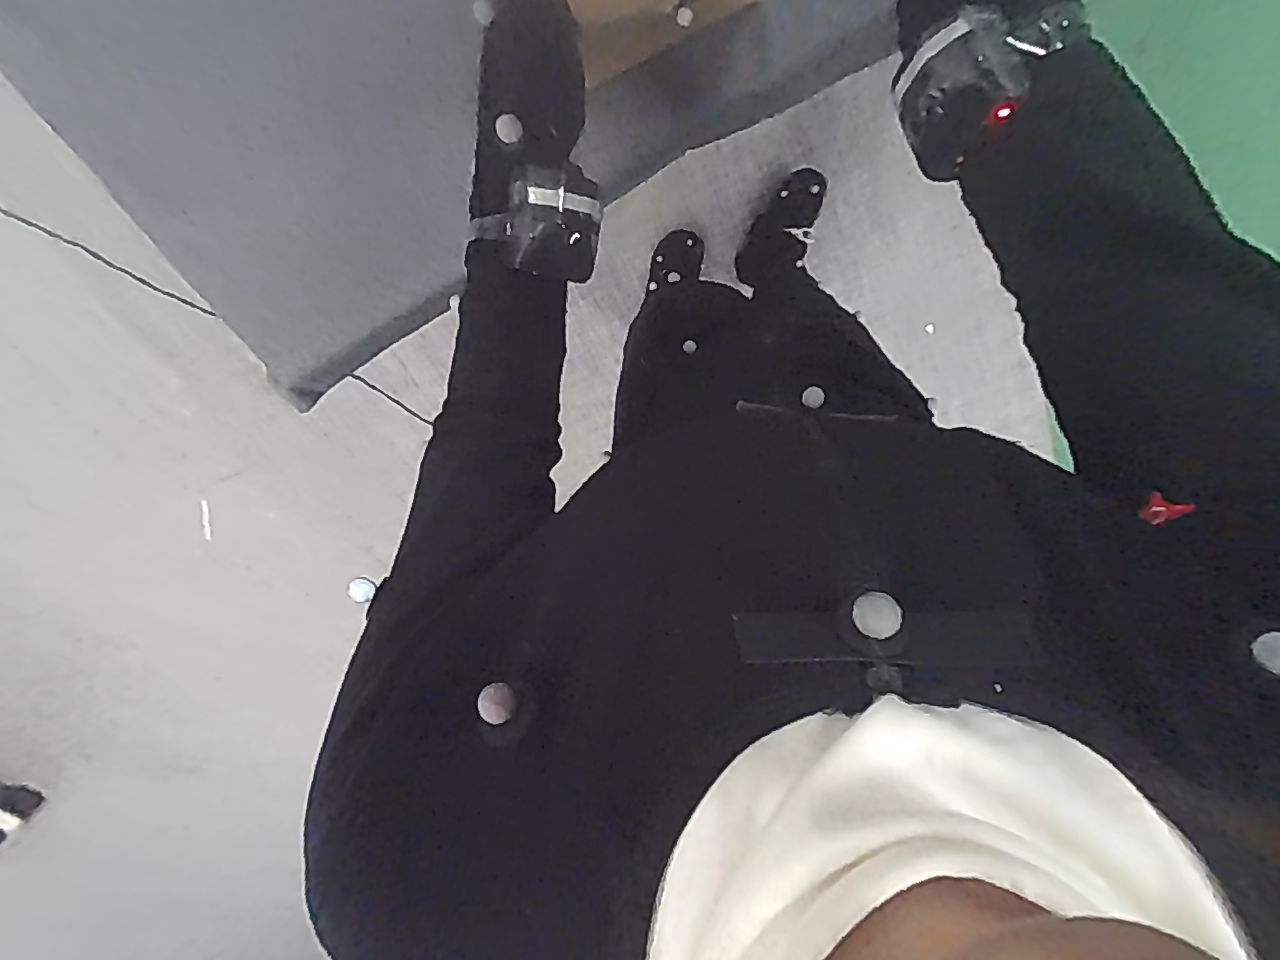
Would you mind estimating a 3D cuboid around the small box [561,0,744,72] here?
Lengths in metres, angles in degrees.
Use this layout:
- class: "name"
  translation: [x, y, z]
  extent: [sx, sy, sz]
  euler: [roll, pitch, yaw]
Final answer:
- class: "small box"
  translation: [0.005, -0.428, 0.380]
  extent: [0.179, 0.176, 0.168]
  euler: [-22, 116, 8]
